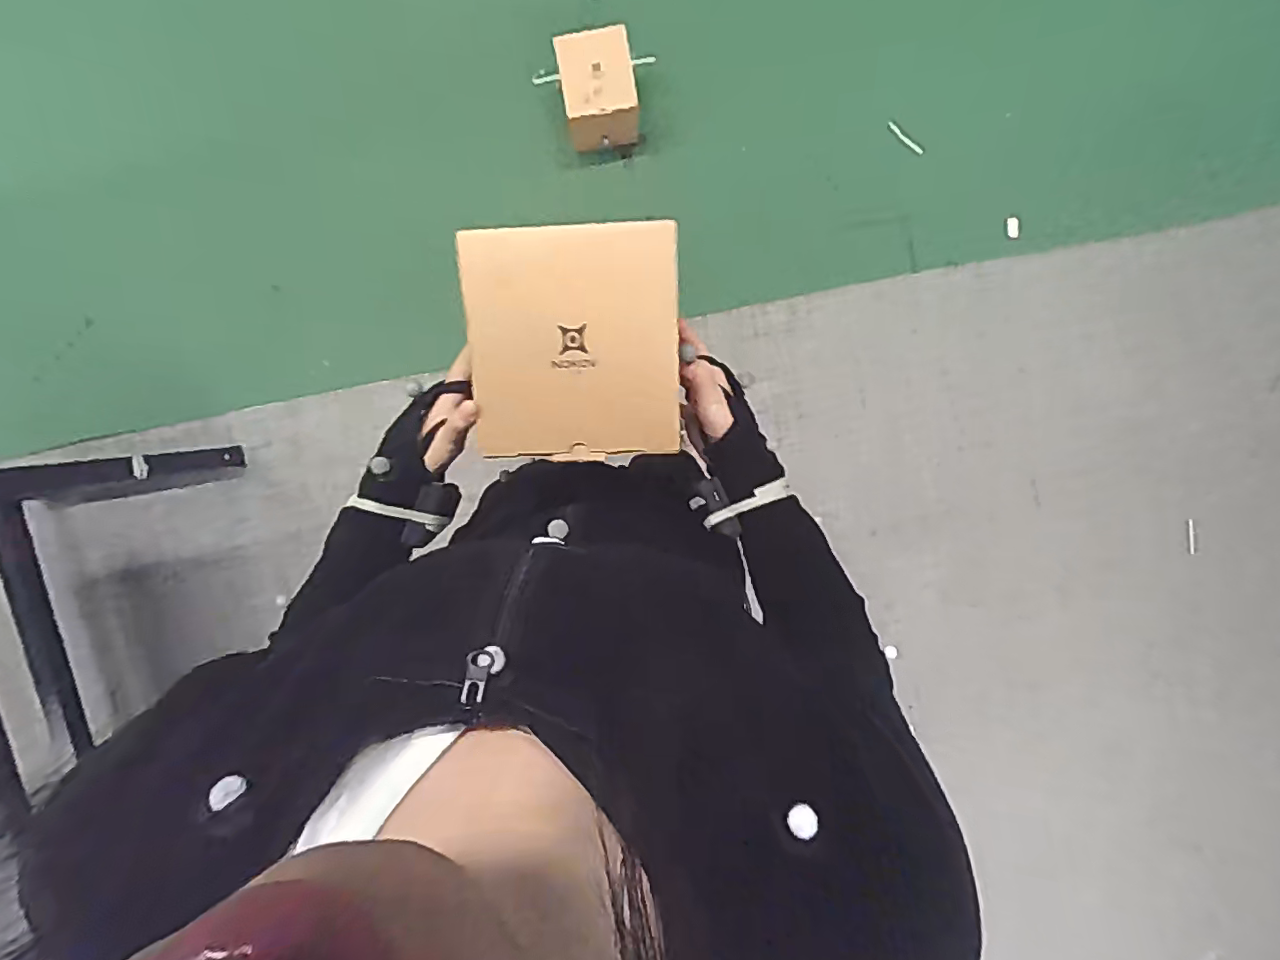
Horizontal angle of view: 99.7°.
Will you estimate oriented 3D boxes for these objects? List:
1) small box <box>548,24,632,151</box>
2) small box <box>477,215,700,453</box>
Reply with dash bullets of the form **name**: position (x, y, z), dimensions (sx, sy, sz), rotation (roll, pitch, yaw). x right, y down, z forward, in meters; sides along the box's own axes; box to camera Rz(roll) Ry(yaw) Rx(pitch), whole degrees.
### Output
- **small box**: position (-0.116, -0.925, 1.286), dimensions (0.168, 0.176, 0.179), rotation (-10, 97, -1)
- **small box**: position (-0.038, -0.124, 0.489), dimensions (0.168, 0.176, 0.179), rotation (-1, 104, 0)
